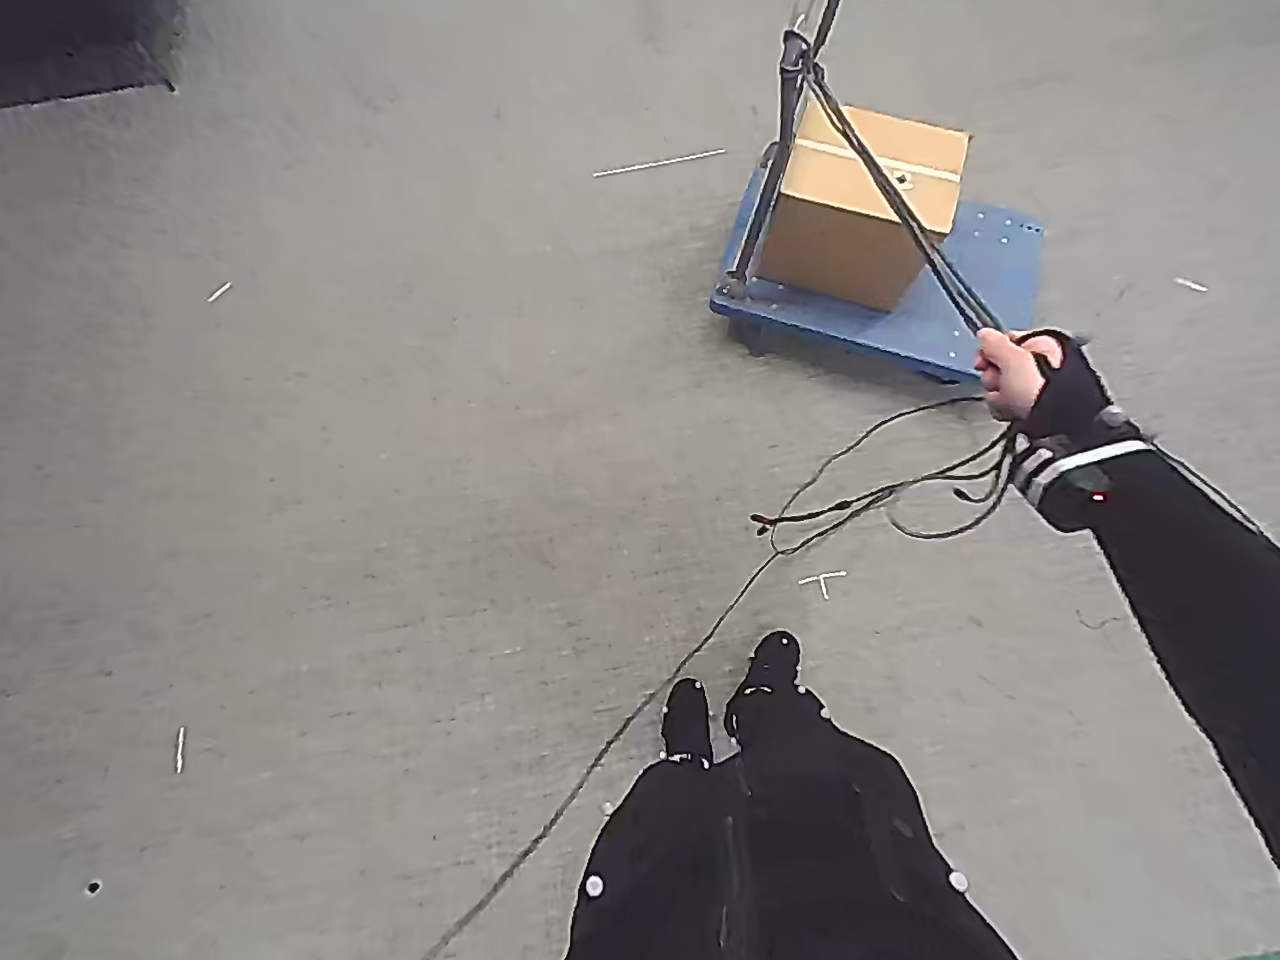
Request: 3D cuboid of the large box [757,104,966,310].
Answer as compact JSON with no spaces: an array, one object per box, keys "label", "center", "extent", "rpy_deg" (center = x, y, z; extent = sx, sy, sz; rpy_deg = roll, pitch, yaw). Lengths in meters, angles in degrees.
[{"label":"large box","center":[0.566,-0.712,1.441],"extent":[0.408,0.320,0.320],"rpy_deg":[18,74,6]}]
